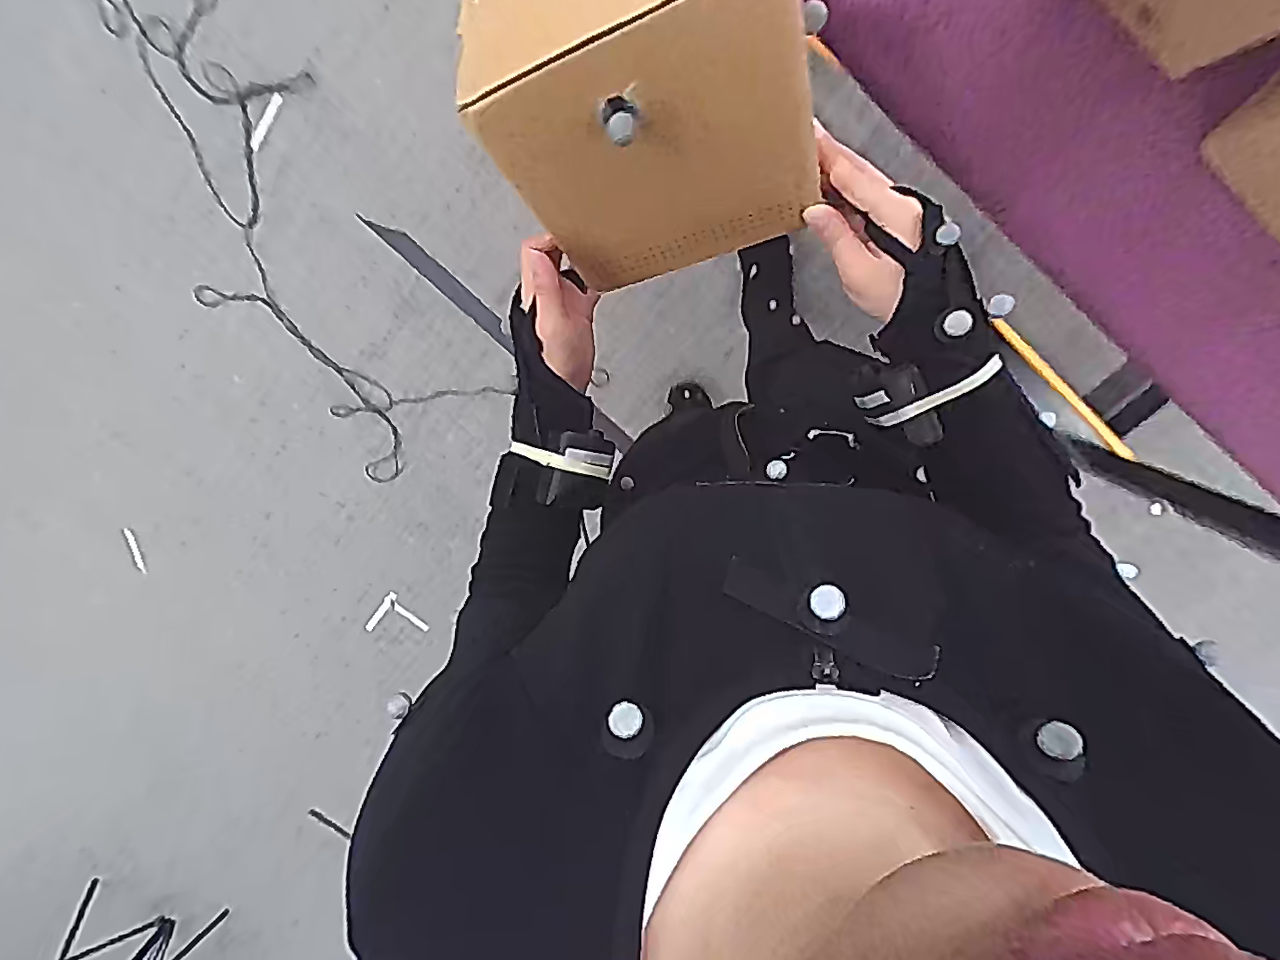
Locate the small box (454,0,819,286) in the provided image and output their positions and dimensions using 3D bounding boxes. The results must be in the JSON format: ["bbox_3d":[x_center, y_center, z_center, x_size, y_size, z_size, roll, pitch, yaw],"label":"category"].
[{"bbox_3d":[0.011,-0.258,0.344,0.179,0.176,0.168,-11,69,21],"label":"small box"}]

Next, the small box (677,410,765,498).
[{"bbox_3d":[0.182,-0.062,1.252,0.179,0.176,0.168,-7,104,6],"label":"small box"}]
